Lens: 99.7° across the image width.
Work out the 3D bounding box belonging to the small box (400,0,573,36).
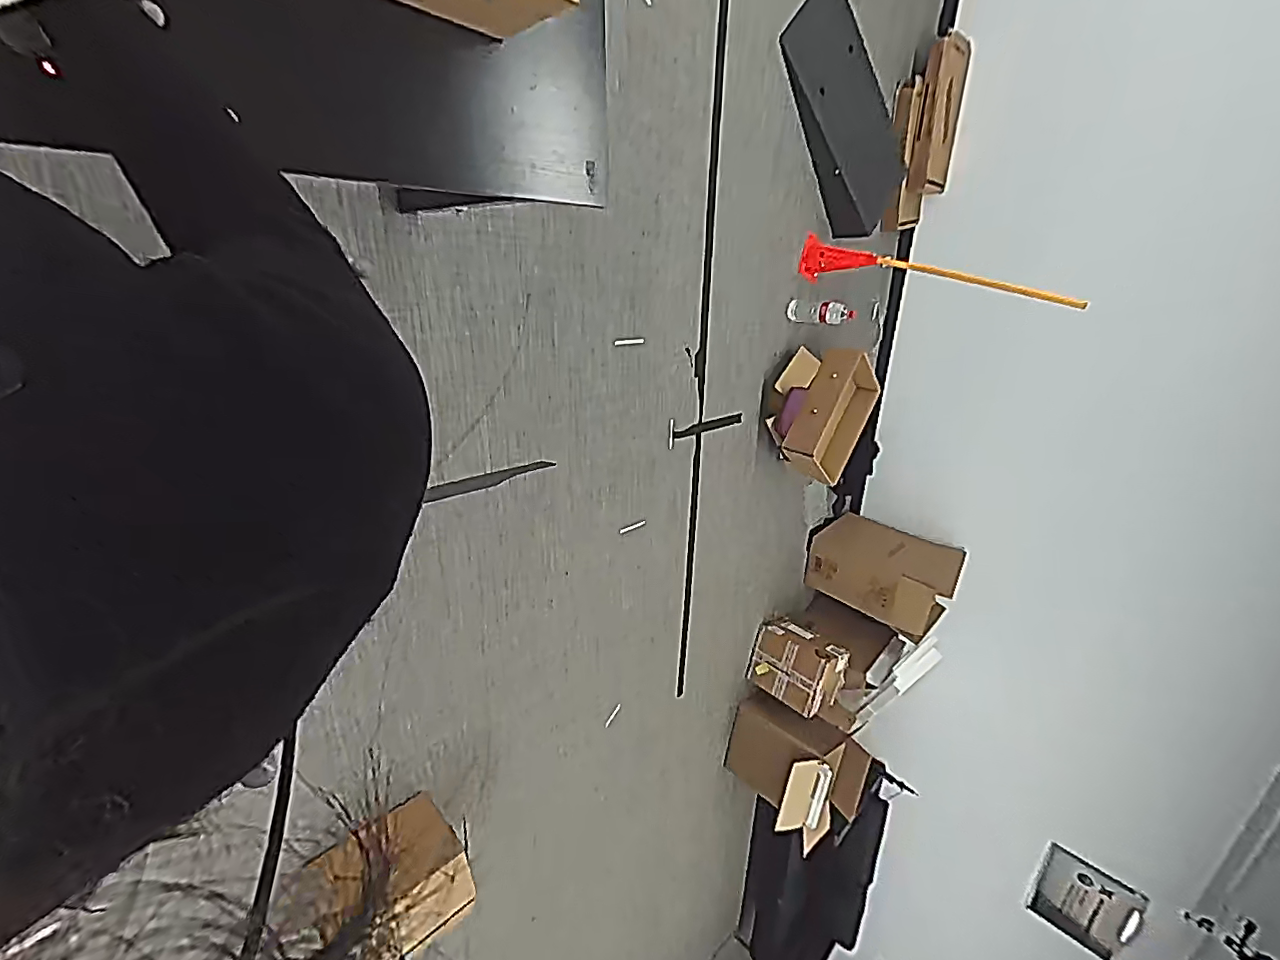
[{"bbox_3d":[-0.193,-0.645,0.614,0.179,0.176,0.168,-17,118,-43],"label":"small box"}]
